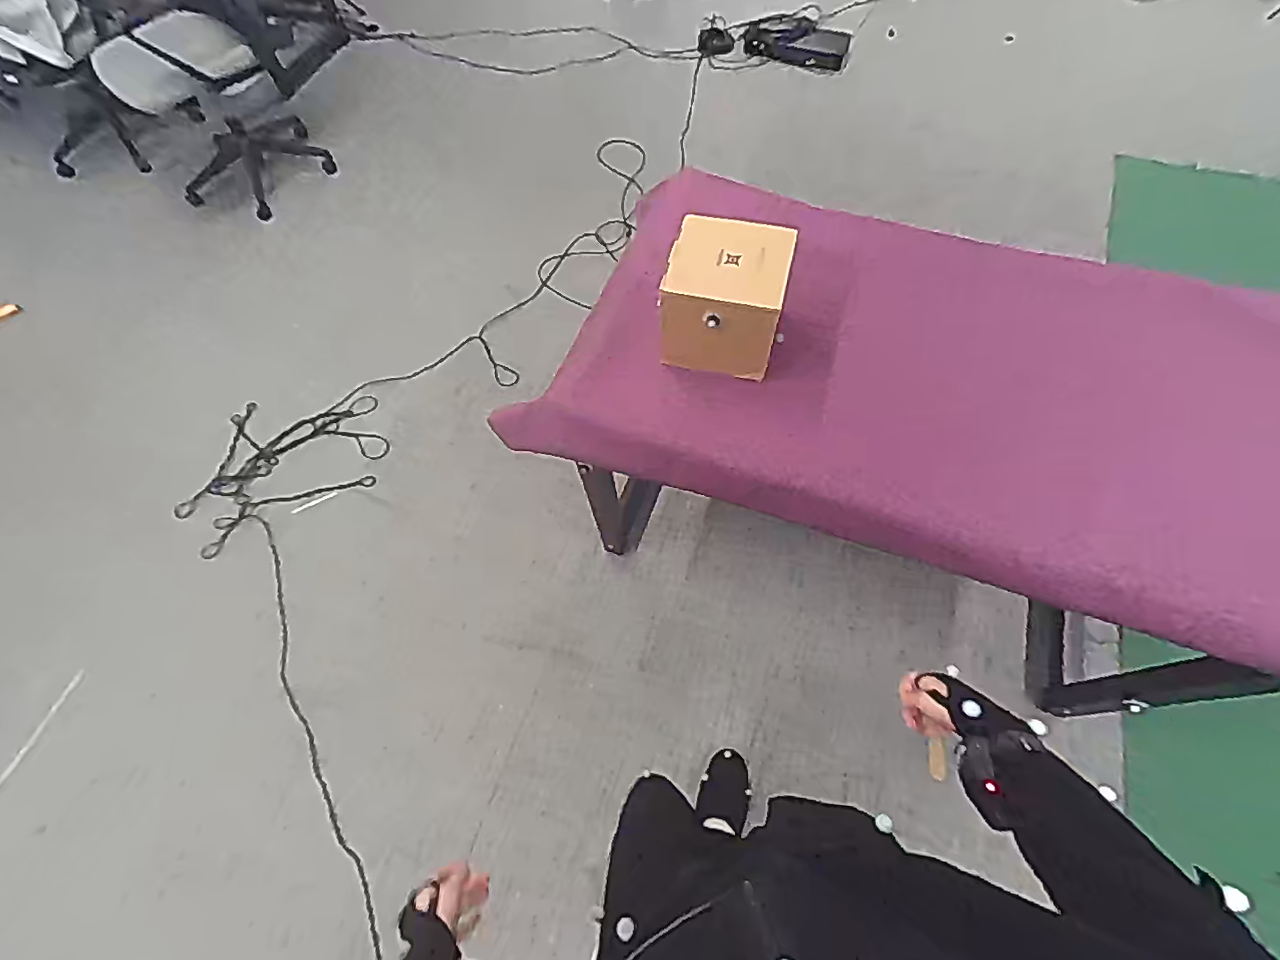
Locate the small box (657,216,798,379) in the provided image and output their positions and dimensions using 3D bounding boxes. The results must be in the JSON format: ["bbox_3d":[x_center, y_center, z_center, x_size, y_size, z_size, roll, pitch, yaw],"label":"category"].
[{"bbox_3d":[0.134,-0.281,0.854,0.179,0.176,0.168,14,65,10],"label":"small box"}]
